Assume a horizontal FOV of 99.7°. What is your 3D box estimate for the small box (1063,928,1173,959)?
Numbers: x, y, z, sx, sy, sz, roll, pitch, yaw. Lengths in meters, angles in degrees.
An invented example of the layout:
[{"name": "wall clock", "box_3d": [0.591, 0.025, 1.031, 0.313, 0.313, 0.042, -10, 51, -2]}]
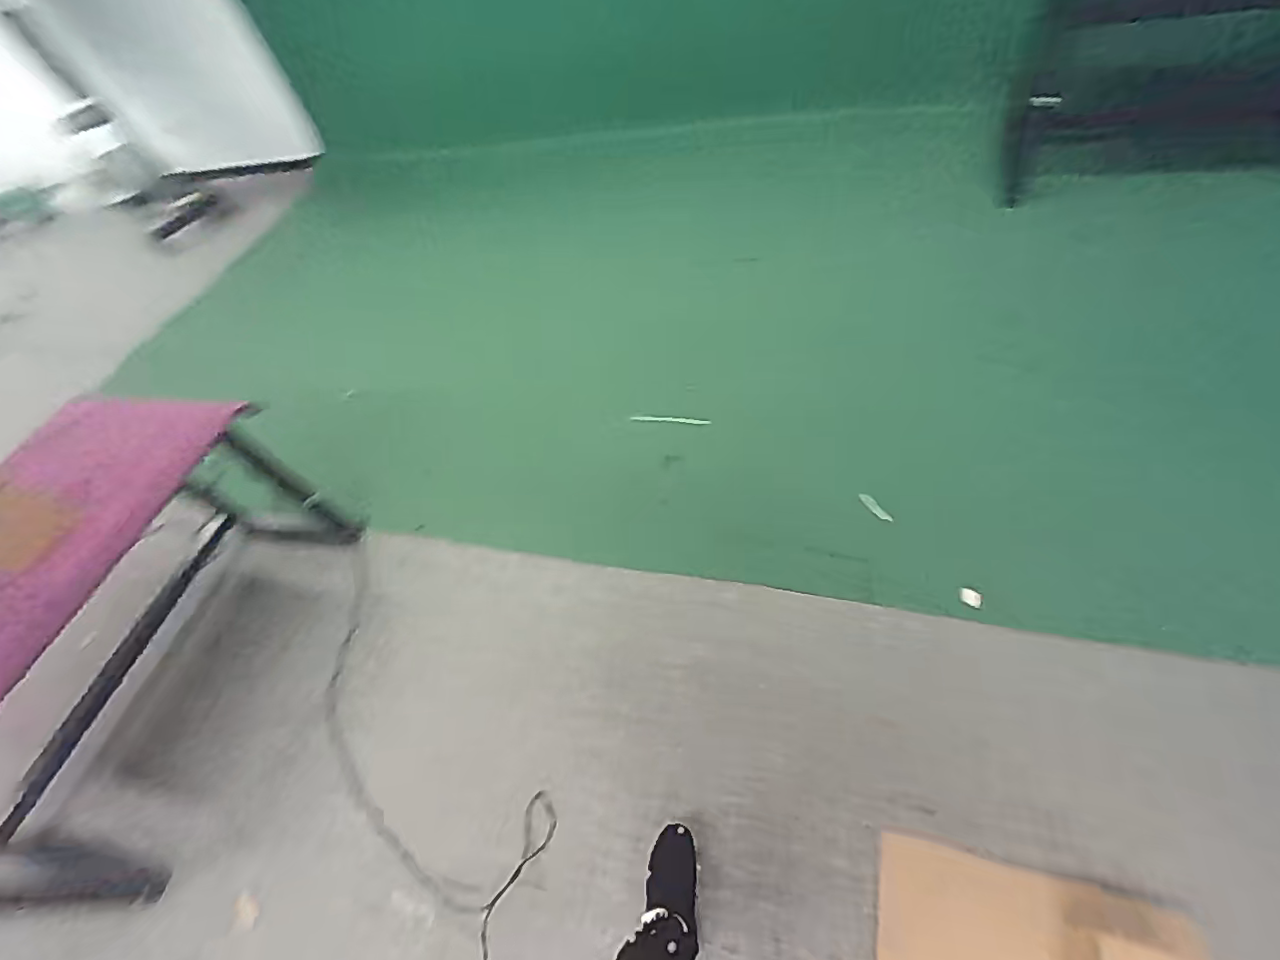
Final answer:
[{"name": "small box", "box_3d": [0.908, 0.959, 0.985, 0.168, 0.176, 0.179, 9, 58, 18]}]
